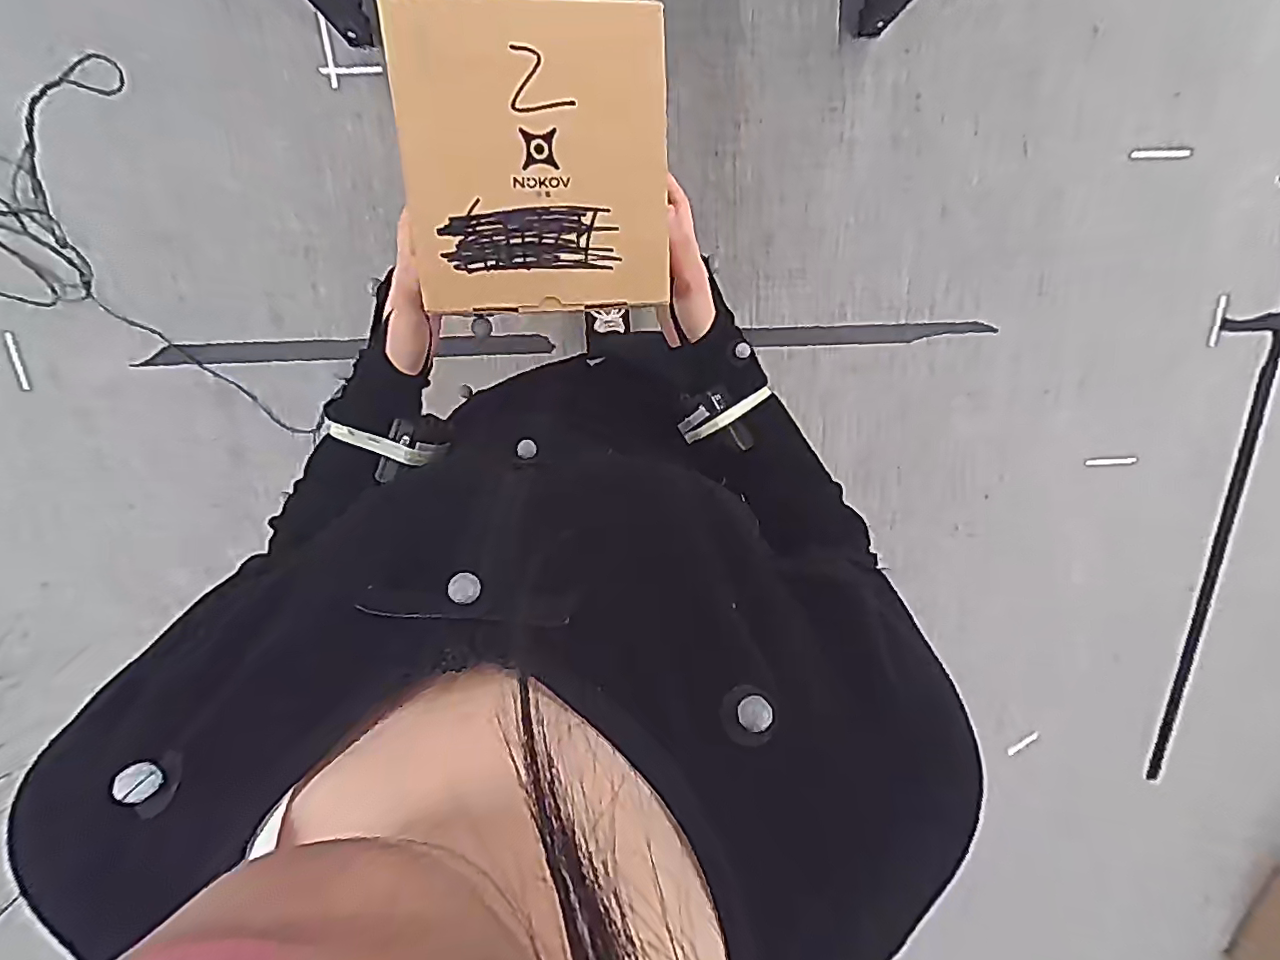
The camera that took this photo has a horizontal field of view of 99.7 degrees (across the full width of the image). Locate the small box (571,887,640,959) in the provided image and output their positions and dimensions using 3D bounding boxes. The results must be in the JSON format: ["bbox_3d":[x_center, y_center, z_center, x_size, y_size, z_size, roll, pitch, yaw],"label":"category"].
[{"bbox_3d":[-0.091,1.255,1.476,0.179,0.176,0.168,-4,105,-2],"label":"small box"}]

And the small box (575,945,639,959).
[{"bbox_3d":[-0.077,1.290,1.317,0.168,0.176,0.179,-3,105,-3],"label":"small box"}]
